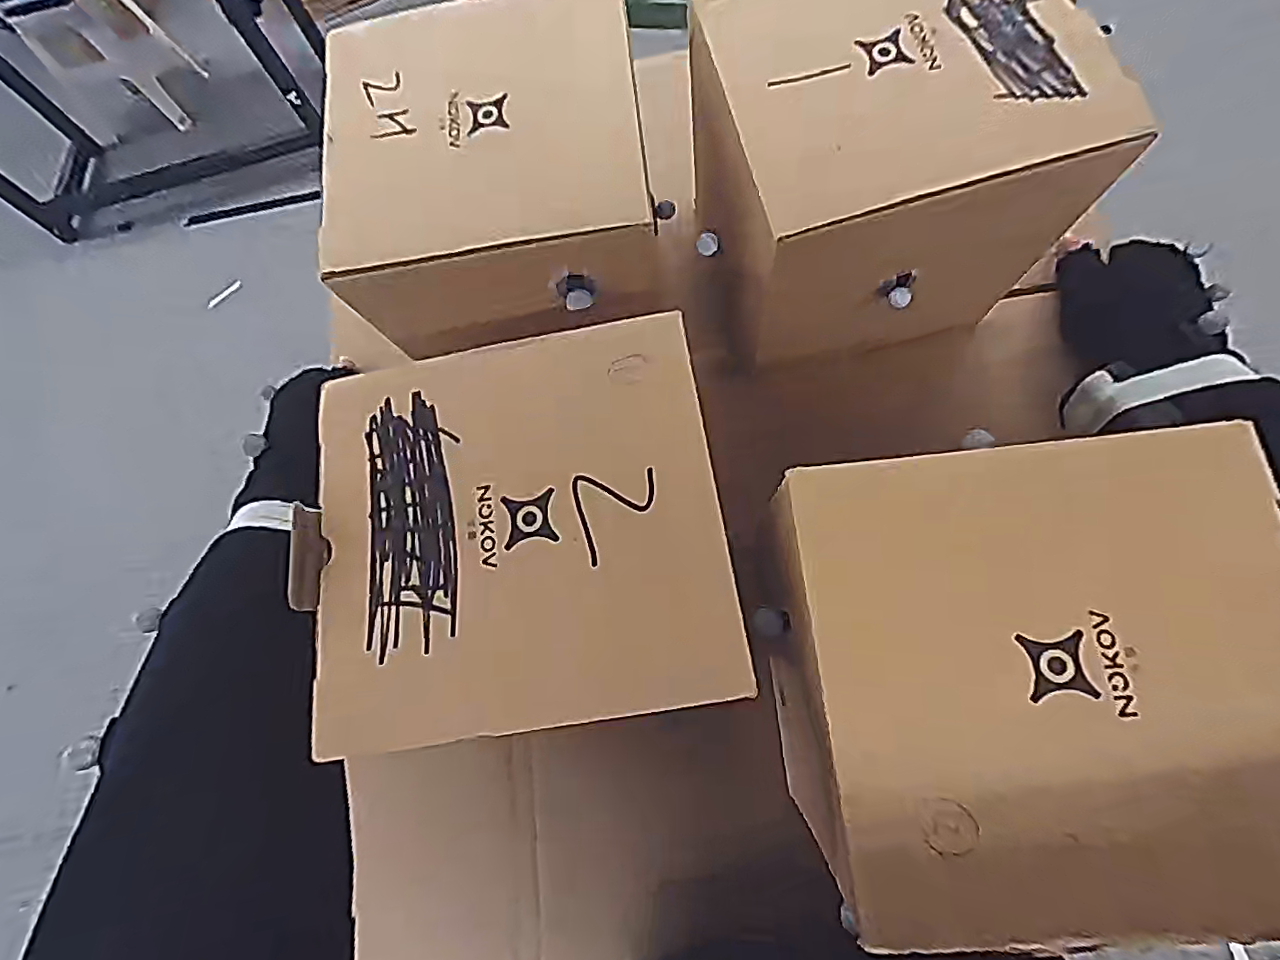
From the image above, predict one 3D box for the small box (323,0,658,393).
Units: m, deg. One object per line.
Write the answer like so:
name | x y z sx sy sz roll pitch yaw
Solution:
small box | -0.082 -0.174 0.377 0.179 0.176 0.168 -8 76 6
